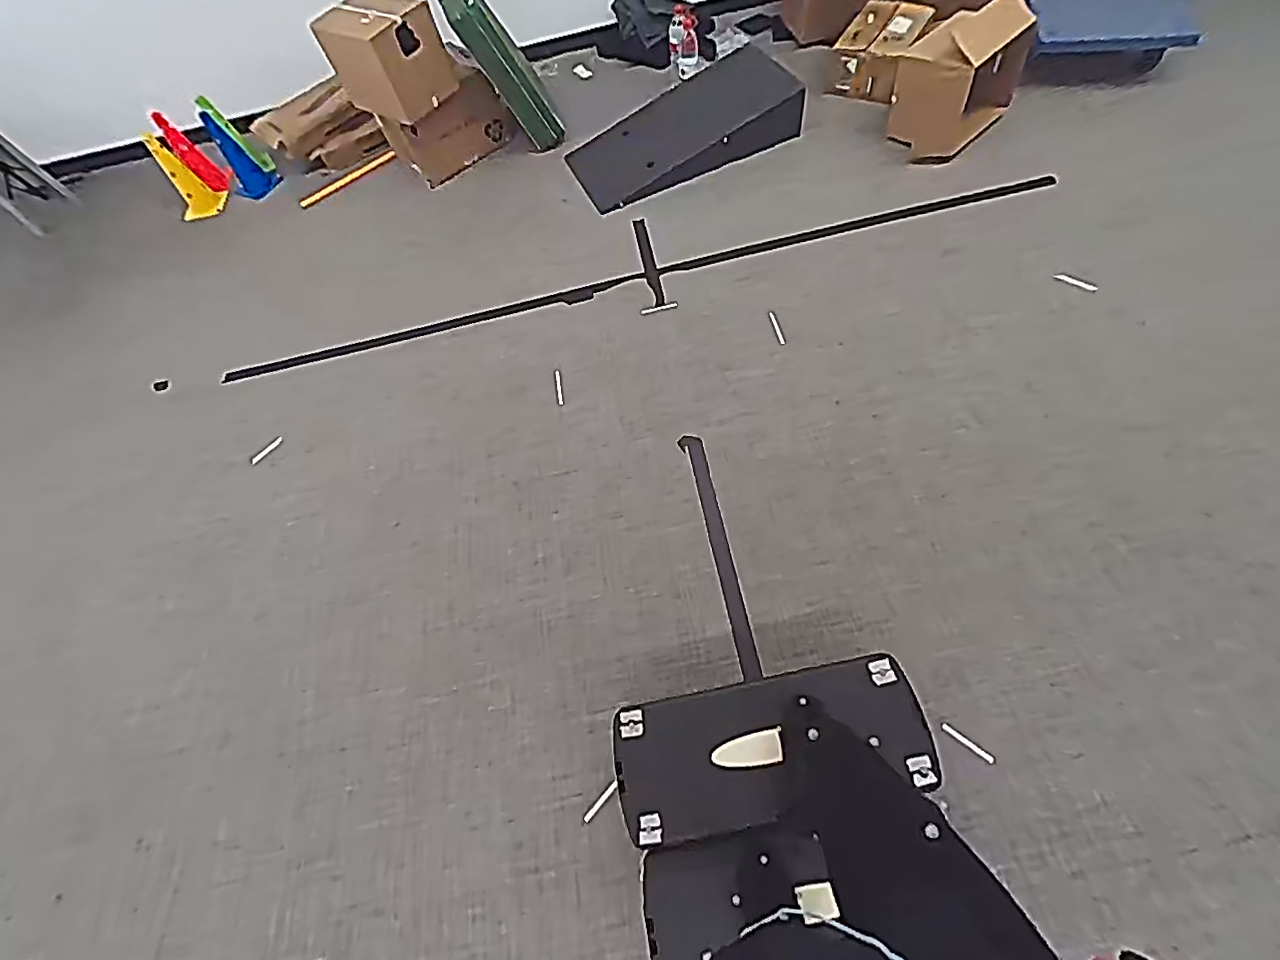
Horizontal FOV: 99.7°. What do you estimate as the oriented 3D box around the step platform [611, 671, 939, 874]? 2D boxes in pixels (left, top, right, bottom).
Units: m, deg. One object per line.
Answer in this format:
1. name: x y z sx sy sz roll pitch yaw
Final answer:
1. step platform: 0.278 0.643 1.211 0.684 0.204 0.286 -13 61 0
